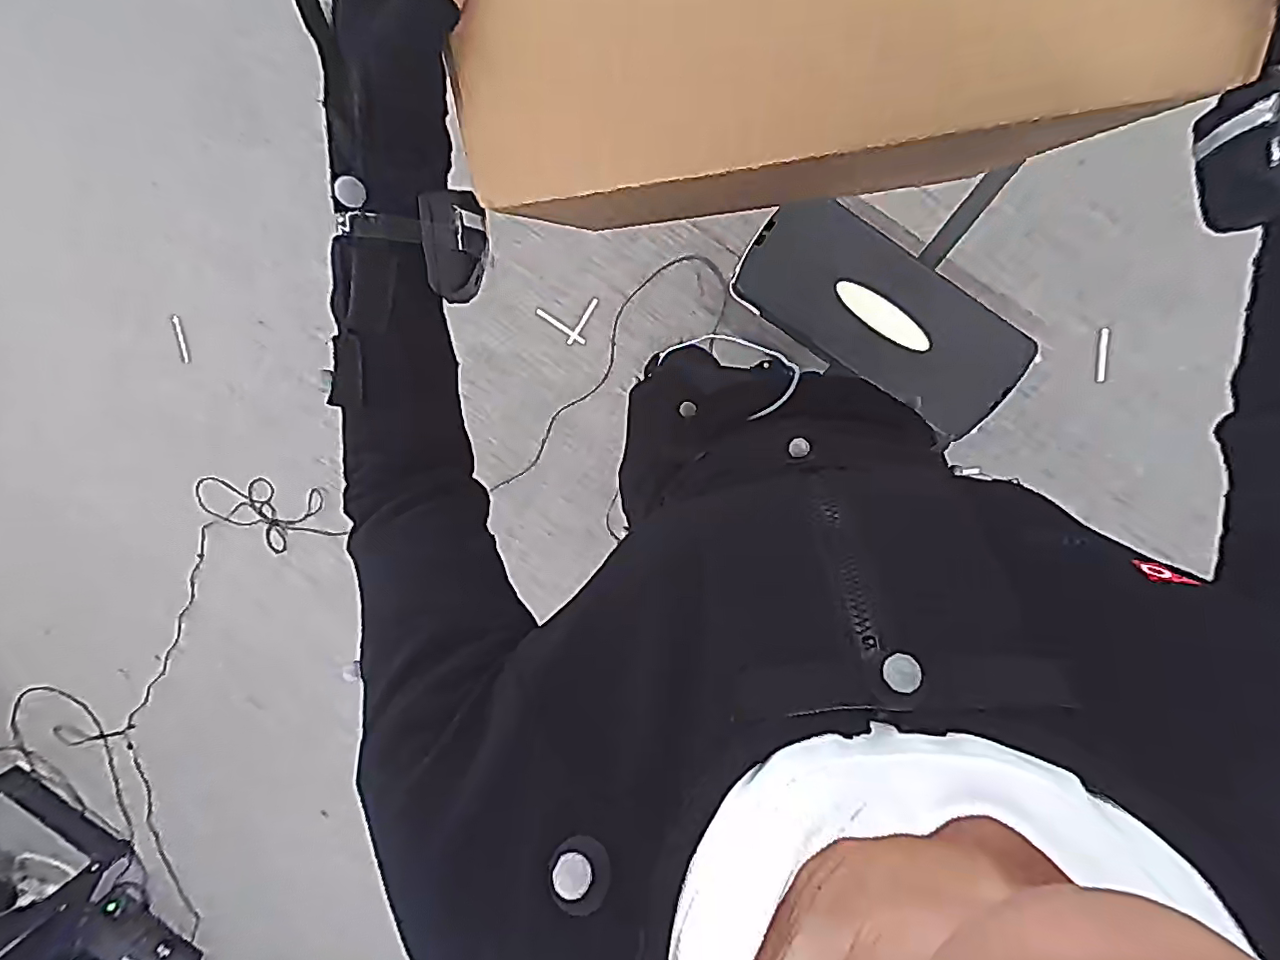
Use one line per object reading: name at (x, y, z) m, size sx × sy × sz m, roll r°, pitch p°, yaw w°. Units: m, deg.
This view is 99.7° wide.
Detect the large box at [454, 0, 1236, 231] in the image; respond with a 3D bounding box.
large box at (0.098, -0.388, 0.394) m, size 0.408 × 0.320 × 0.320 m, roll -5°, pitch 112°, yaw 9°
